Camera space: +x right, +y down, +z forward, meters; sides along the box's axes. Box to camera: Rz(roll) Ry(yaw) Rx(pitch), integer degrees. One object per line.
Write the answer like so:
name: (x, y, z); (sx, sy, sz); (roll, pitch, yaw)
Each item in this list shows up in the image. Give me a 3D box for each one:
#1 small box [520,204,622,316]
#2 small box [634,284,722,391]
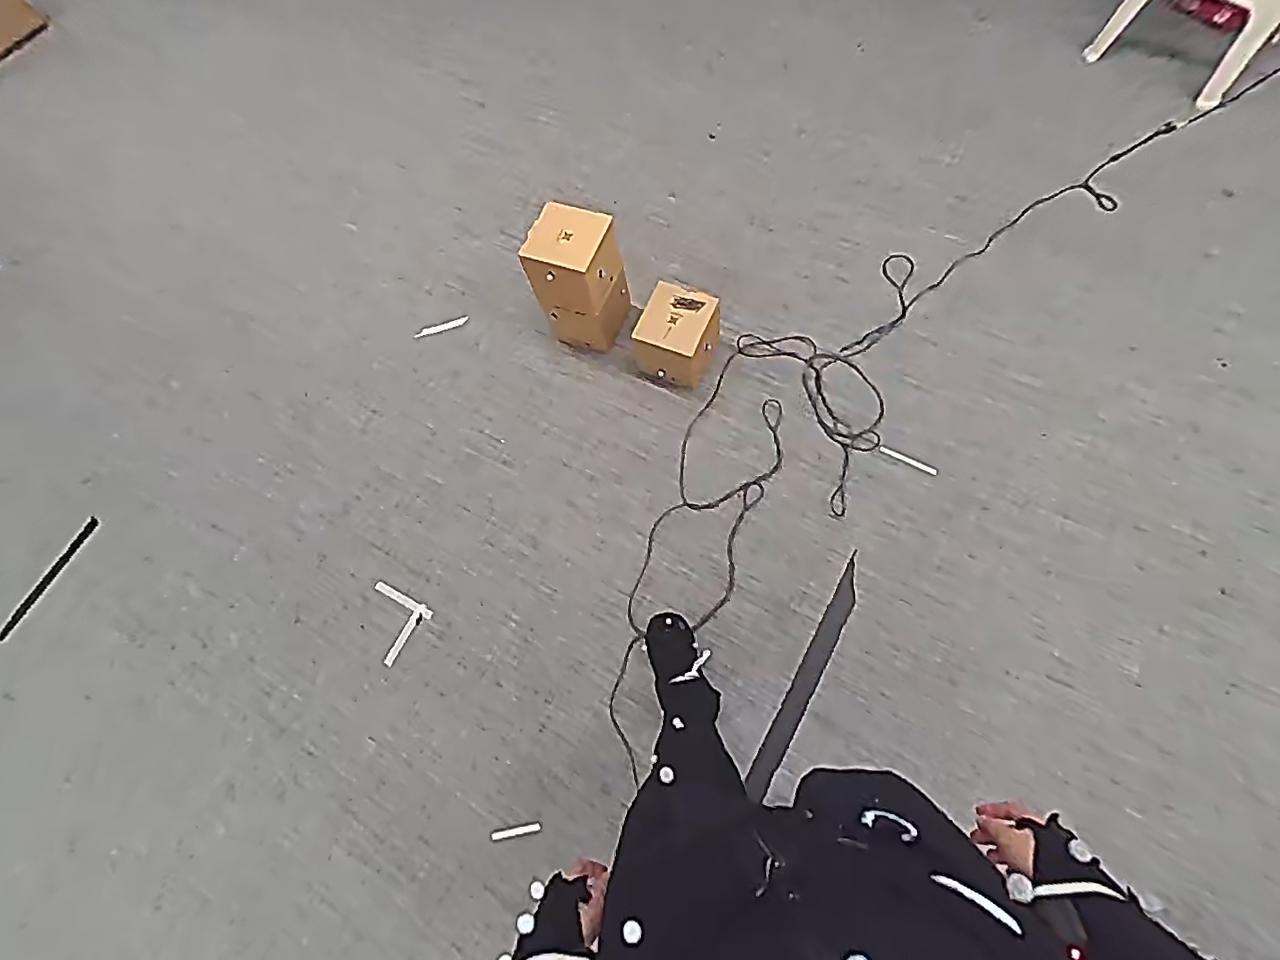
small box: (-0.156, -0.524, 1.306); (0.179, 0.176, 0.168); (19, 74, 14)
small box: (0.101, -0.362, 1.389); (0.168, 0.176, 0.179); (22, 76, 15)
